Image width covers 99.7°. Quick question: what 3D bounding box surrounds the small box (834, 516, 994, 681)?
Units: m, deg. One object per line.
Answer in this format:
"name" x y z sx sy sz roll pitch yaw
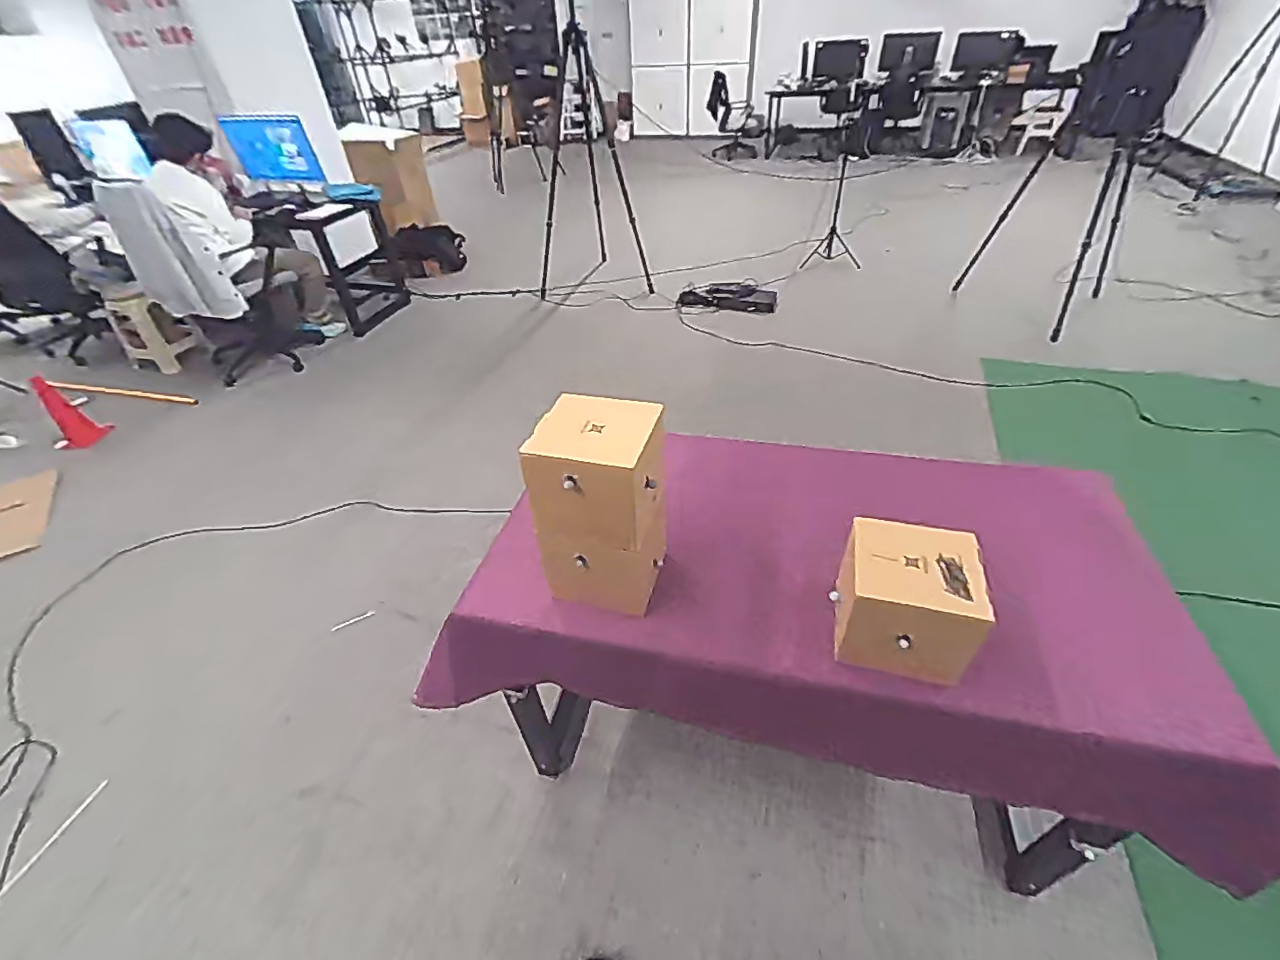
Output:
"small box" 0.405 0.183 0.830 0.179 0.176 0.168 8 41 16

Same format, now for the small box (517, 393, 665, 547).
"small box" -0.063 -0.015 0.849 0.179 0.176 0.168 8 42 15

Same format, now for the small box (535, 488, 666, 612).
"small box" -0.059 0.110 0.954 0.179 0.176 0.168 9 42 15
